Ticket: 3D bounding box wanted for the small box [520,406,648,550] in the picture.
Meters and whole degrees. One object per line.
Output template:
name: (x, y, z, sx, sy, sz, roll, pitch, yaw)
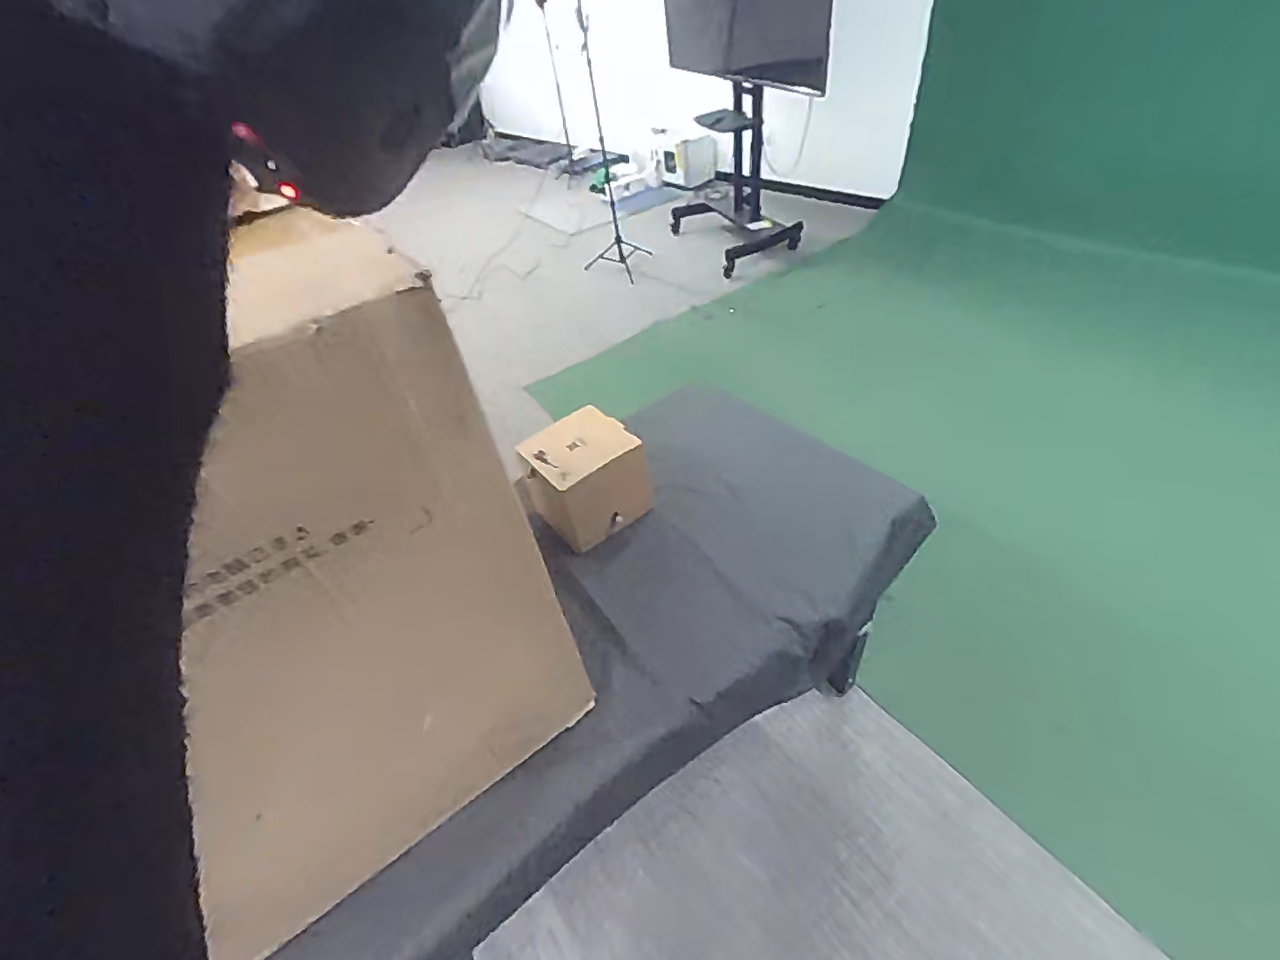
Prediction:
small box: (-0.097, -0.005, 1.017, 0.179, 0.176, 0.168, -31, 47, -23)
